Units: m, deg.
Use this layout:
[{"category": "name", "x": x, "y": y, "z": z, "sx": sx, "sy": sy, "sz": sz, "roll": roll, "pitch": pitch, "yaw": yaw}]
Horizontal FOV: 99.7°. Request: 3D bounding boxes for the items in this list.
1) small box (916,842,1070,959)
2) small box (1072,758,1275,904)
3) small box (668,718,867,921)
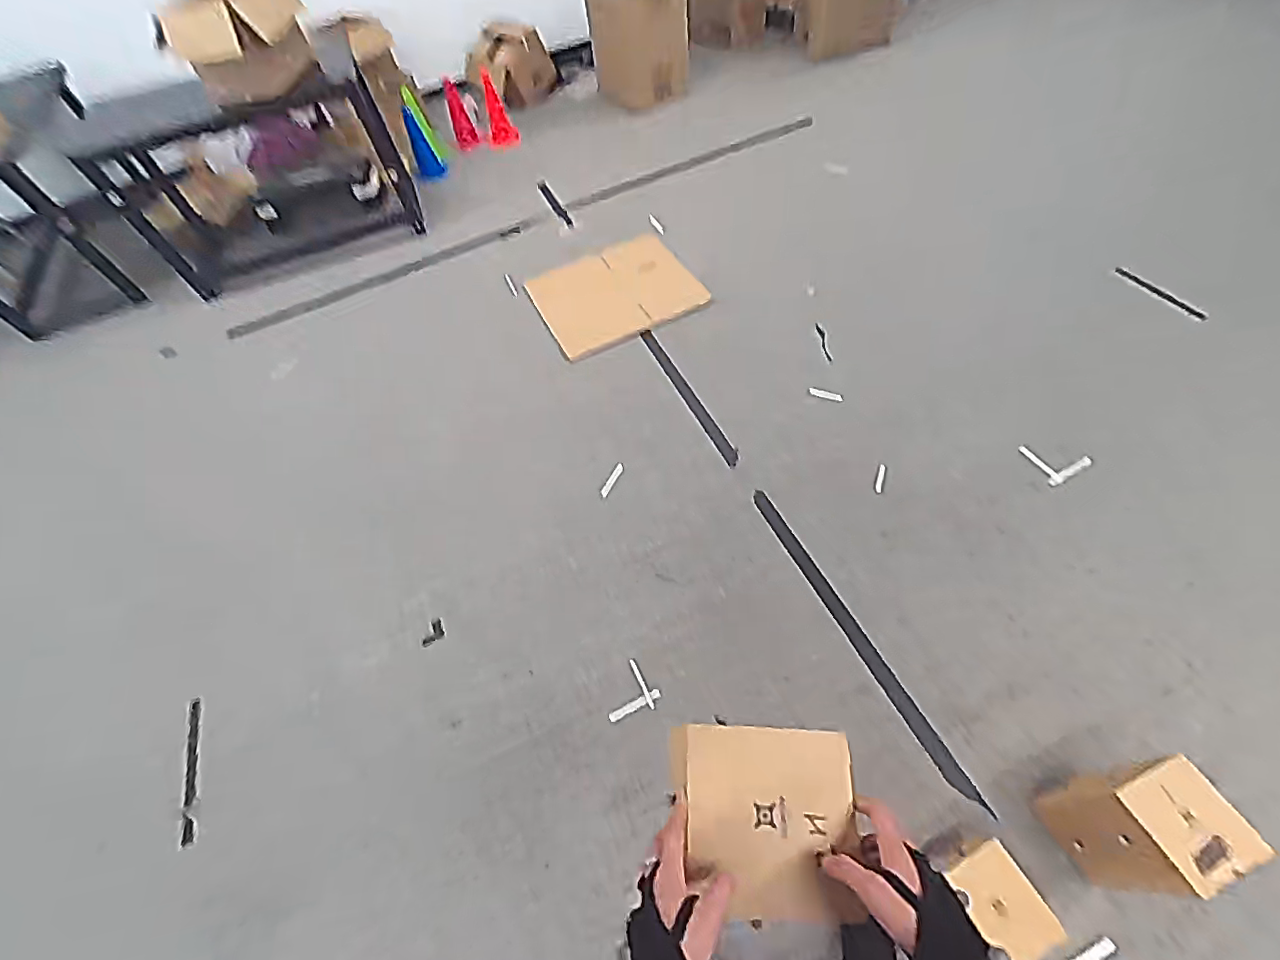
[{"category": "small box", "x": 0.711, "y": 0.885, "z": 1.116, "sx": 0.168, "sy": 0.176, "sz": 0.179, "roll": -26, "pitch": 57, "yaw": -10}, {"category": "small box", "x": 0.992, "y": 0.661, "z": 1.026, "sx": 0.168, "sy": 0.176, "sz": 0.179, "roll": -23, "pitch": 55, "yaw": -8}, {"category": "small box", "x": 0.126, "y": 0.370, "z": 0.609, "sx": 0.179, "sy": 0.176, "sz": 0.168, "roll": 4, "pitch": 63, "yaw": -2}]
